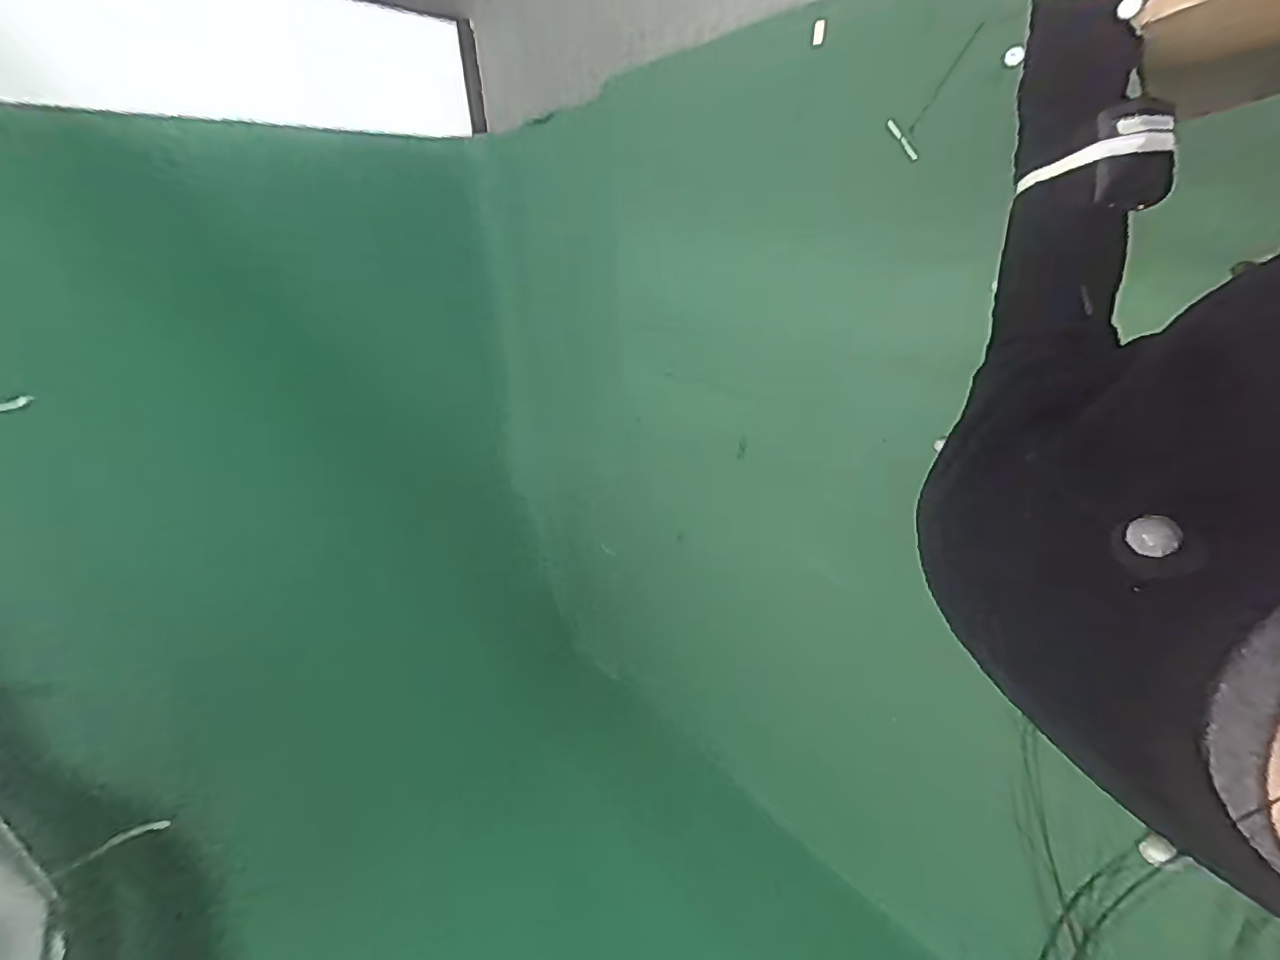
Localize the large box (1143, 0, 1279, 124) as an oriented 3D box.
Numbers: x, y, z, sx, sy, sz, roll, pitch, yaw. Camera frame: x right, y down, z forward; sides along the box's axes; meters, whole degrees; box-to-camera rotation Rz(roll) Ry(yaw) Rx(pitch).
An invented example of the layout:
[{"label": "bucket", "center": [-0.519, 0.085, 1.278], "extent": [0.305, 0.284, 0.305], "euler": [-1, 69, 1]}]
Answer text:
[{"label": "large box", "center": [0.560, -0.469, 0.292], "extent": [0.408, 0.320, 0.320], "euler": [4, 105, 45]}]
